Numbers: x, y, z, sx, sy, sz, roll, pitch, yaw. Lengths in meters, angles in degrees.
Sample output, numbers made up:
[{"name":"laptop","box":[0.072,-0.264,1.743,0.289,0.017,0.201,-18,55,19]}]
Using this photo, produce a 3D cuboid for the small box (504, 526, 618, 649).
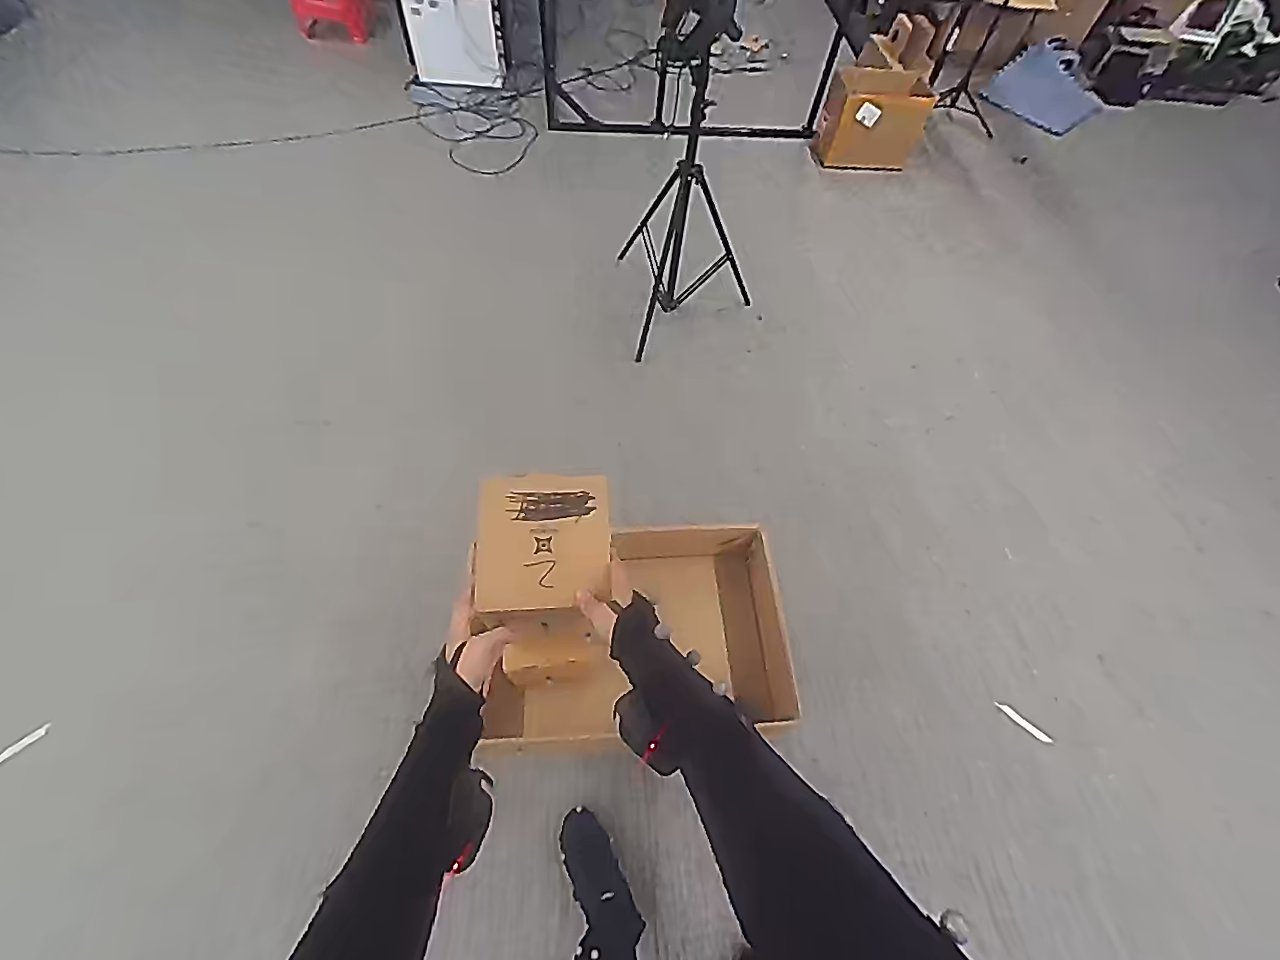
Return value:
[{"name":"small box","box":[-0.132,0.189,0.938,0.179,0.176,0.168,-1,59,-5]}]

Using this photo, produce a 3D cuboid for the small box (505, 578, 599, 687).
[{"name":"small box","box":[-0.171,0.293,1.065,0.168,0.176,0.179,-6,60,-7]}]
